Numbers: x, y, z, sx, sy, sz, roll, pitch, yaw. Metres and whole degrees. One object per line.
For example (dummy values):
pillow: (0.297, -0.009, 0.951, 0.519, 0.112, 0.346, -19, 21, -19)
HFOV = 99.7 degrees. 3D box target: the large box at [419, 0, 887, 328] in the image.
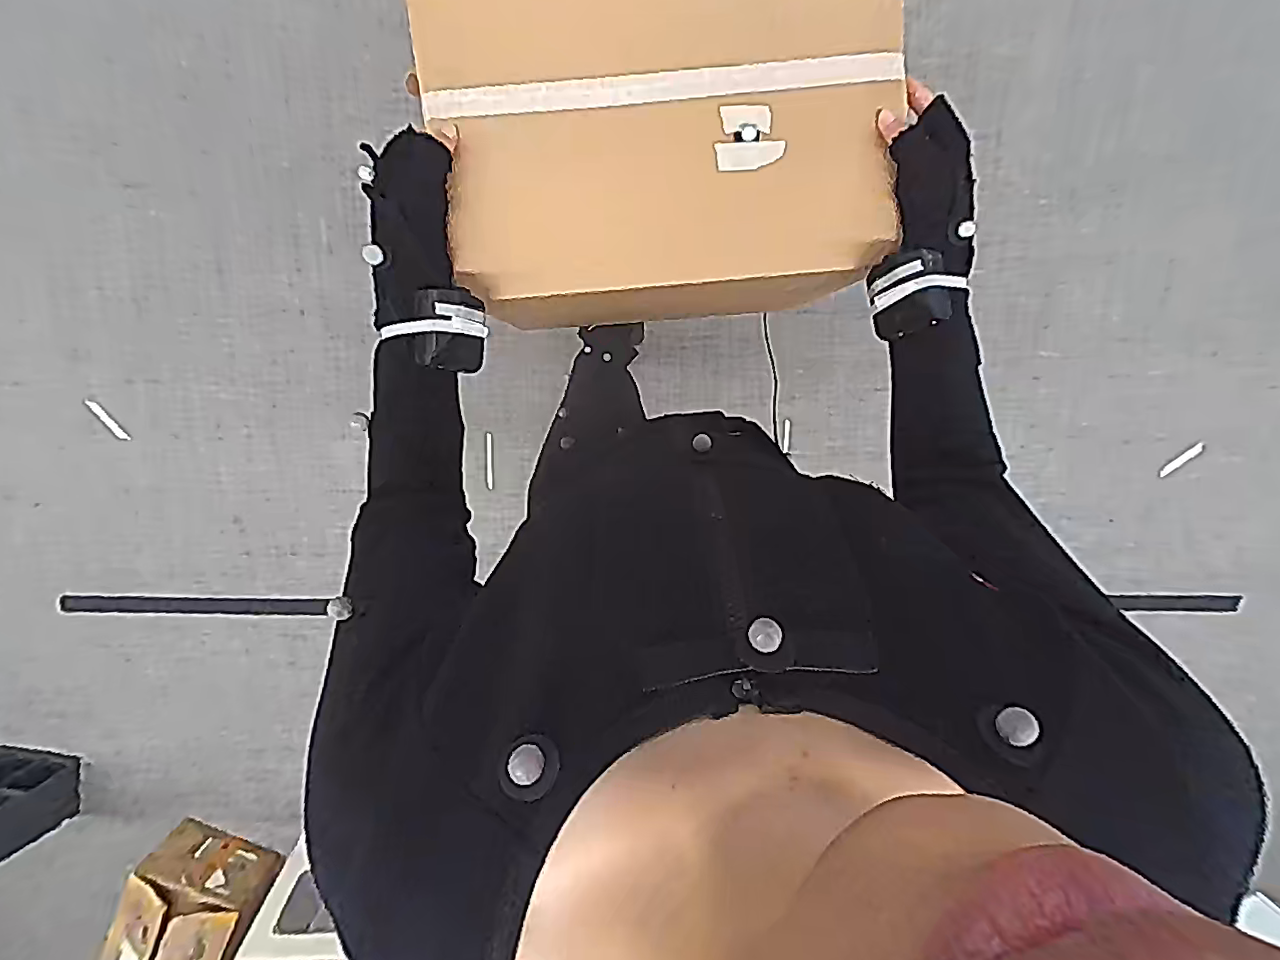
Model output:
large box: (0.012, -0.367, 0.622, 0.408, 0.320, 0.320, -6, 101, -1)
